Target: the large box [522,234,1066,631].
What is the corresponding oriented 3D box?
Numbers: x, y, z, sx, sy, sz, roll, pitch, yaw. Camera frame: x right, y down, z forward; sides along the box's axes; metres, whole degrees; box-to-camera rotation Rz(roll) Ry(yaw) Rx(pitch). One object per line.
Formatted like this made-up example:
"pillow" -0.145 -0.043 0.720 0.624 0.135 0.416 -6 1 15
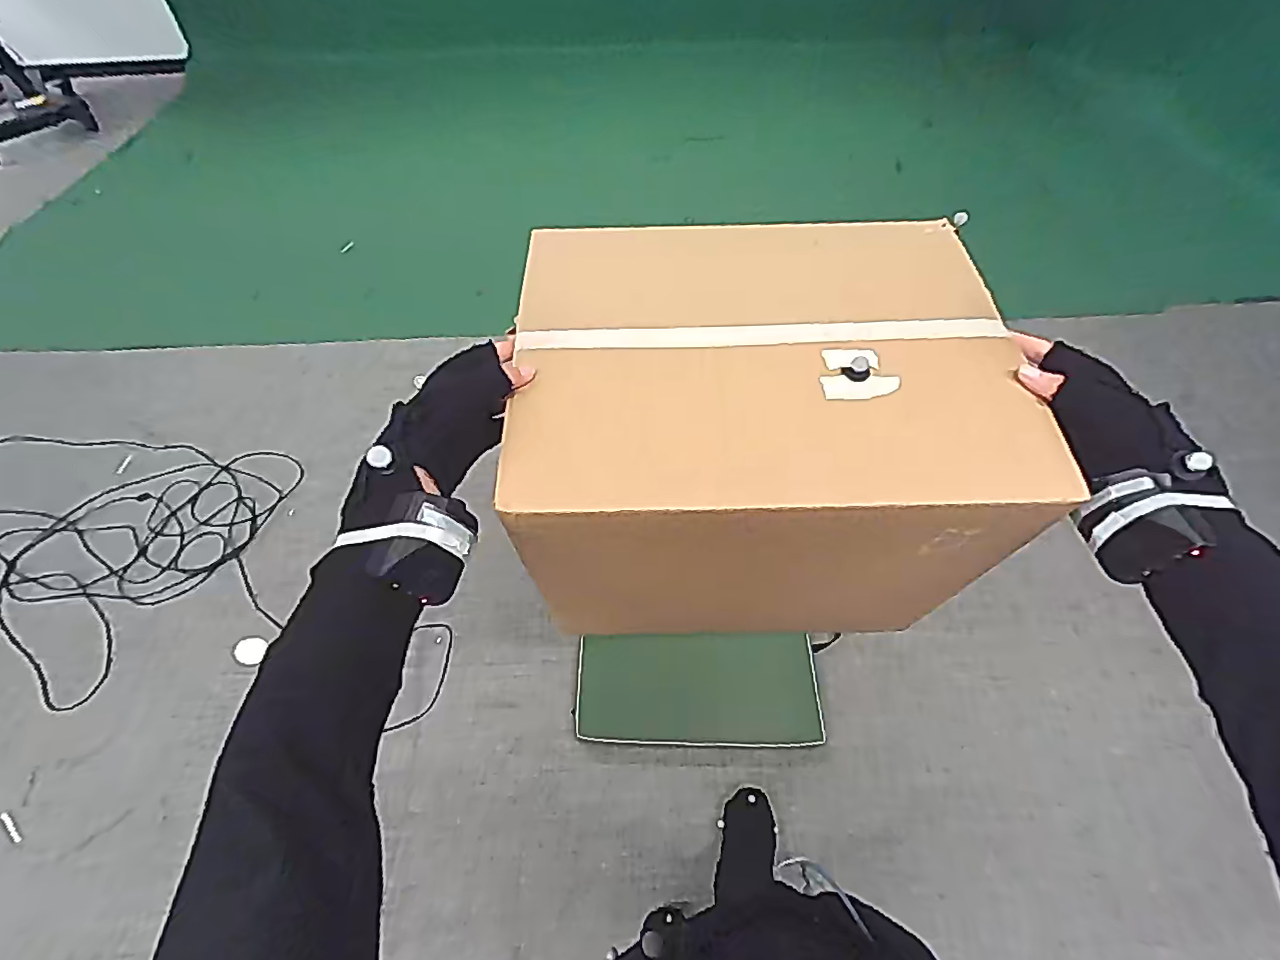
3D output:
"large box" 0.106 -0.034 0.590 0.408 0.320 0.320 -1 59 0
